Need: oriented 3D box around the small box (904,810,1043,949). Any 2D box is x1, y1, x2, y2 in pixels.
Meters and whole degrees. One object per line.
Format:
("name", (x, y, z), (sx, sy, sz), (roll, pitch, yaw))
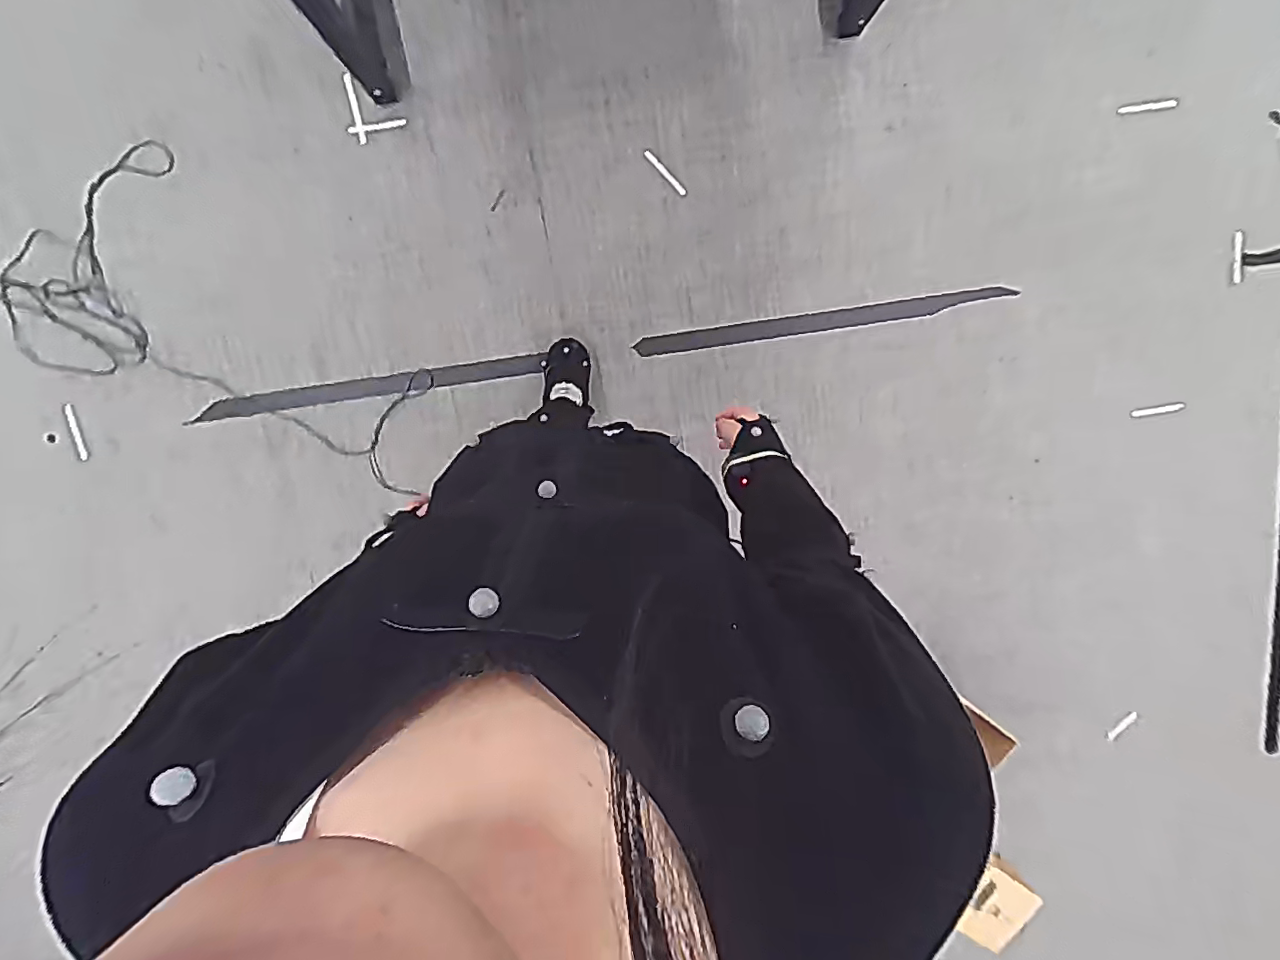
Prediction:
("small box", (0.759, 0.912, 1.252), (0.179, 0.176, 0.168), (37, 95, -11))
